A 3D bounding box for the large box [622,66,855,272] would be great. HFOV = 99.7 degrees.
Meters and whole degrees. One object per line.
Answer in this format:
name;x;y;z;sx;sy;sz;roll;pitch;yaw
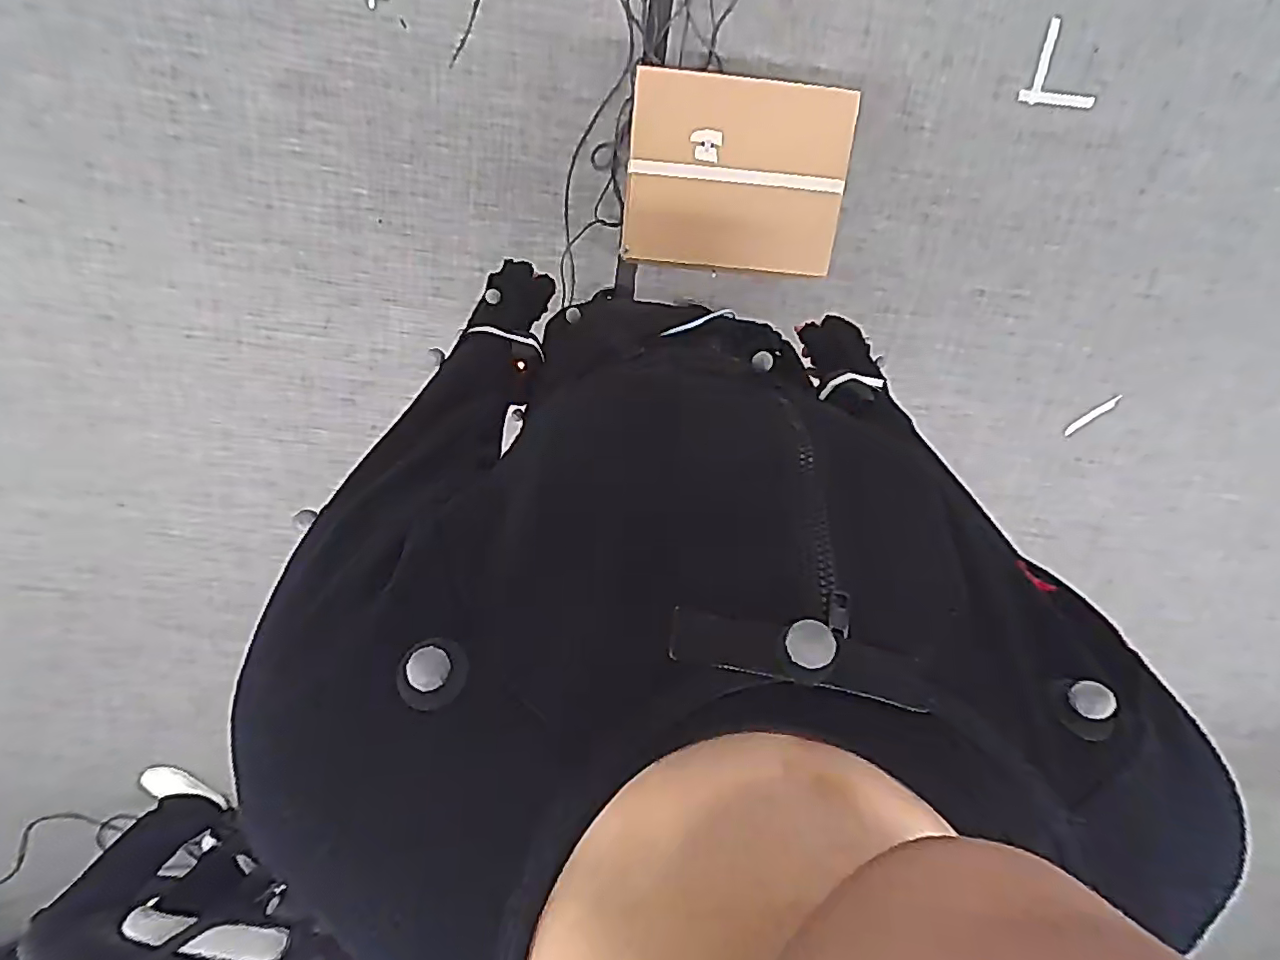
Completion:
large box;0.176;-0.620;1.145;0.408;0.320;0.320;5;109;-3
